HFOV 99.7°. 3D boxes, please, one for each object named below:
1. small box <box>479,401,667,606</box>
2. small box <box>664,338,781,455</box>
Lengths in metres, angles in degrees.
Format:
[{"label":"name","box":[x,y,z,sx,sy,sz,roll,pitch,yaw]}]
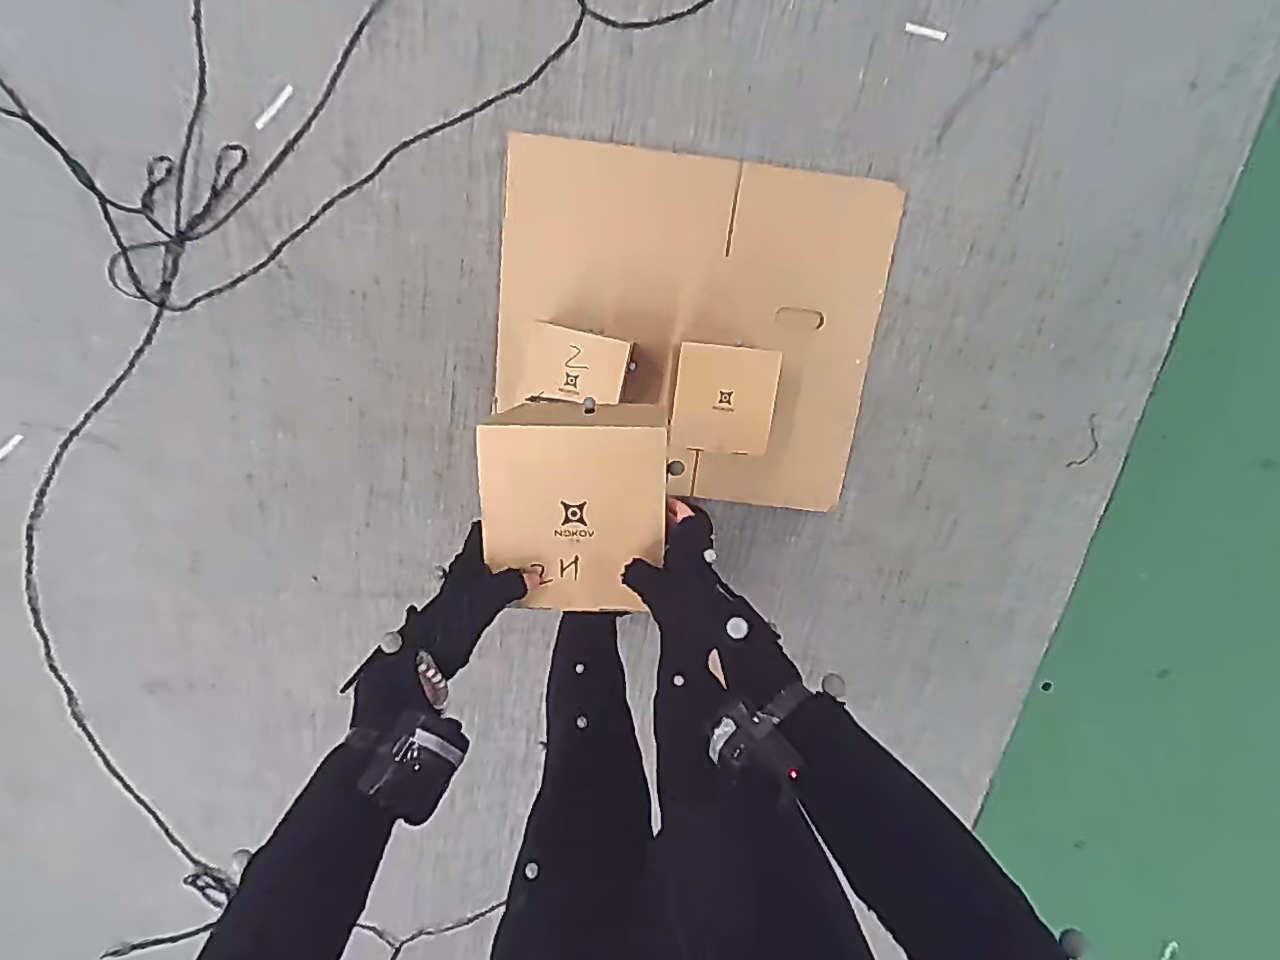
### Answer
[{"label":"small box","box":[-0.058,0.013,0.563,0.168,0.176,0.179,1,106,1]},{"label":"small box","box":[0.134,-0.153,0.953,0.168,0.176,0.179,5,106,-2]}]
